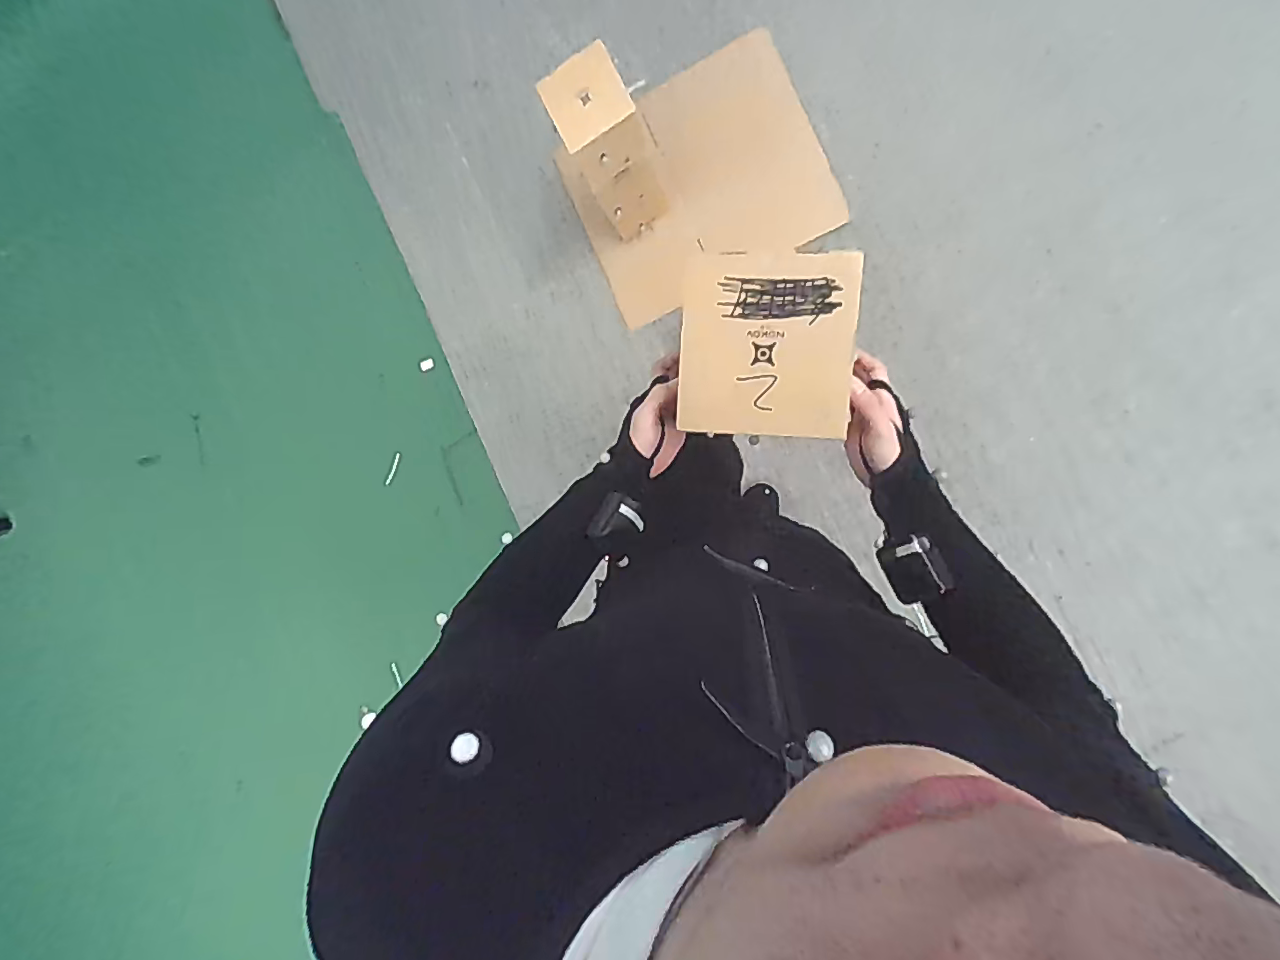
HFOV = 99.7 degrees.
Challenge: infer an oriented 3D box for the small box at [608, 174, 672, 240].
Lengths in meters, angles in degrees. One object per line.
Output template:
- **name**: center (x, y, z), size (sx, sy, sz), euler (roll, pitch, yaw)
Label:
- **small box**: center (-0.029, -0.818, 1.520), size (0.168, 0.176, 0.179), euler (-31, 87, 12)

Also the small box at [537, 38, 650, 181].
- **small box**: center (-0.094, -0.803, 1.201), size (0.168, 0.176, 0.179), euler (-27, 87, 13)

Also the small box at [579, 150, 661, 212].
- **small box**: center (-0.064, -0.809, 1.361), size (0.168, 0.176, 0.179), euler (-28, 86, 12)
